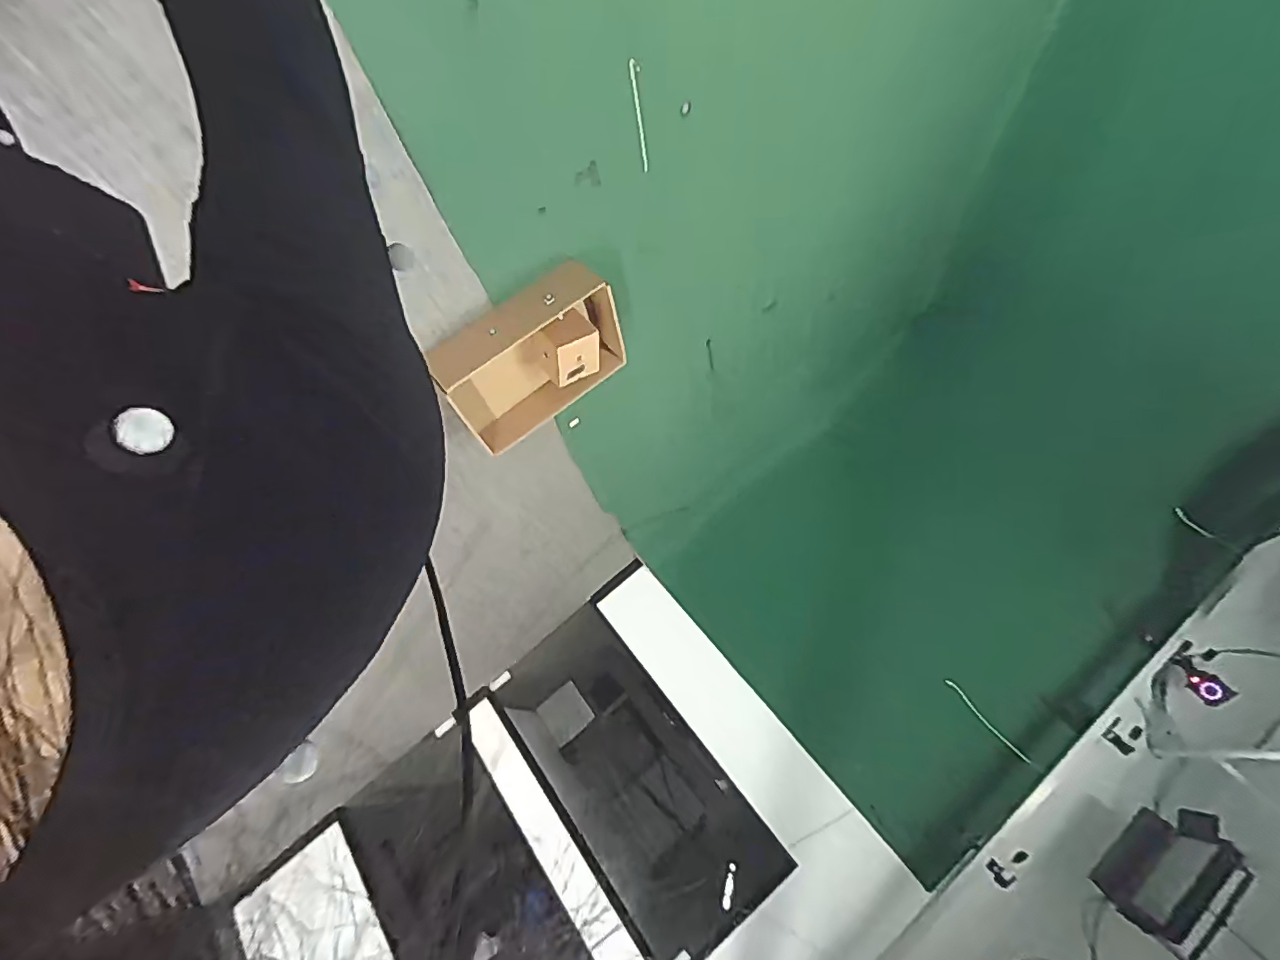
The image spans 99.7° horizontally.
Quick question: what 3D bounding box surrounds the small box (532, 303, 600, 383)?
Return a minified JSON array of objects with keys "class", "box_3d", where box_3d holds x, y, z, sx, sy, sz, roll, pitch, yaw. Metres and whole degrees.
[{"class":"small box","box_3d":[-0.254,-0.468,1.841,0.168,0.176,0.179,-30,152,-24]}]
